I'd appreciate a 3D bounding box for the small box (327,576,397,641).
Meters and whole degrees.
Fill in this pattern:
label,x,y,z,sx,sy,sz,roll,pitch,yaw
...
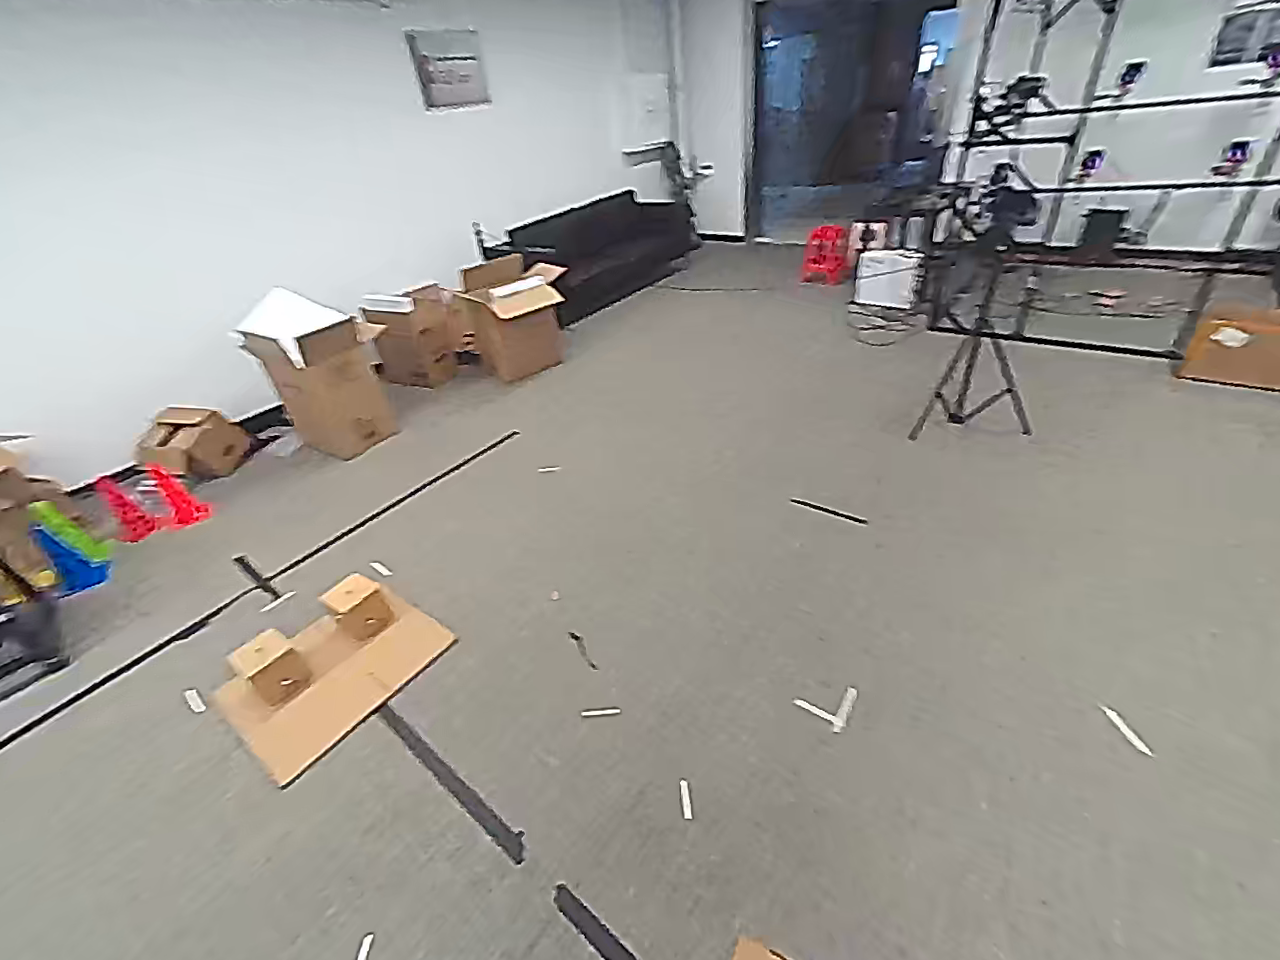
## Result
label,x,y,z,sx,sy,sz,roll,pitch,yaw
small box,-1.143,0.532,2.232,0.179,0.176,0.168,16,41,30

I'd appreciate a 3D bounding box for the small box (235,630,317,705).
label,x,y,z,sx,sy,sz,roll,pitch,yaw
small box,-1.353,0.701,2.017,0.179,0.176,0.168,18,43,33
